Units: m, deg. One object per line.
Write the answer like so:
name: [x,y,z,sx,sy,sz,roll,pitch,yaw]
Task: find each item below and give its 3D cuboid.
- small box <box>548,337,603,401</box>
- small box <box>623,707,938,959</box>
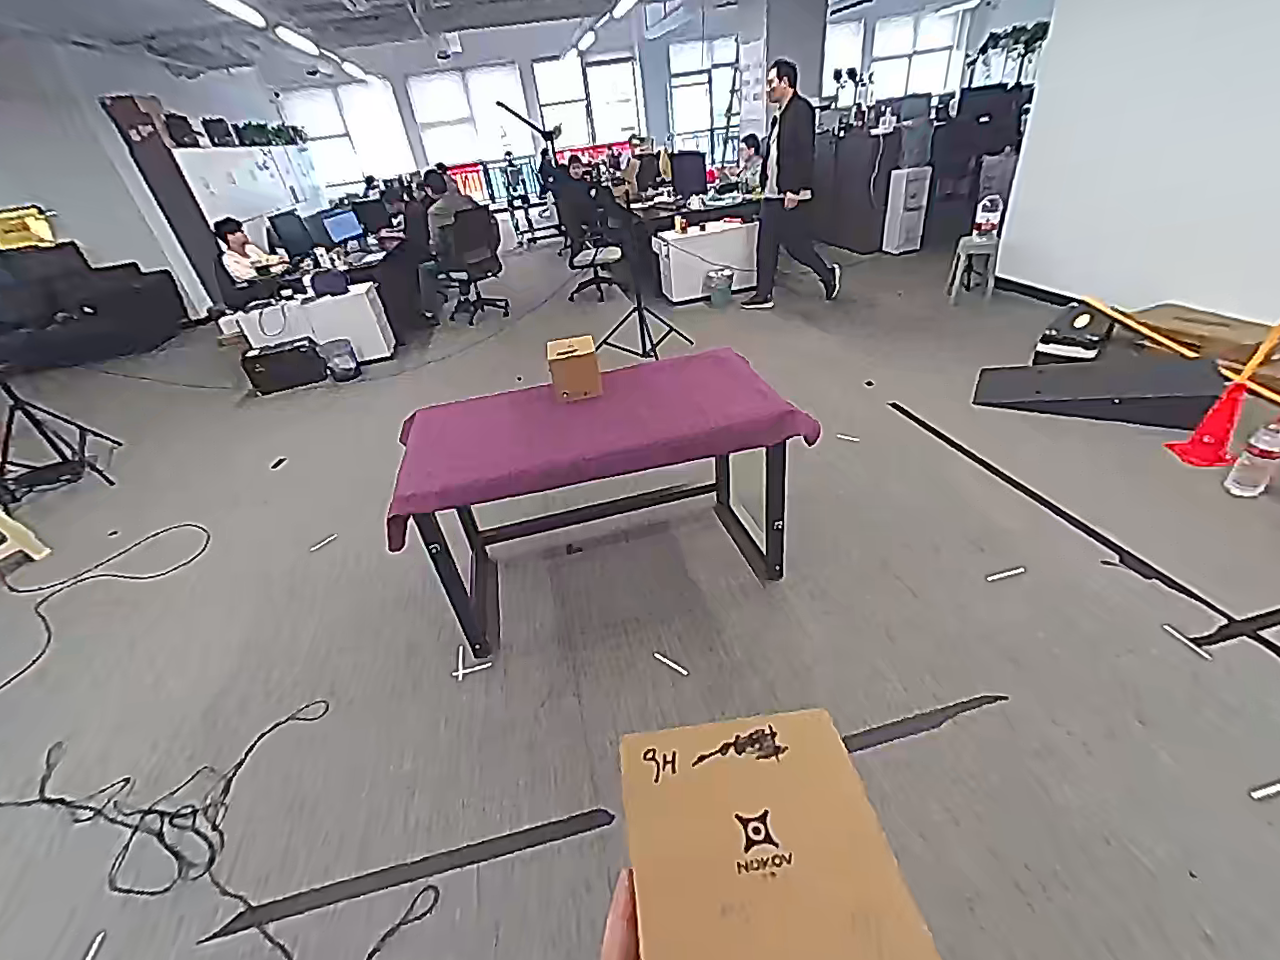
small box: [-0.232,-0.394,1.946,0.168,0.176,0.179,-11,34,-4]
small box: [0.081,0.301,0.395,0.168,0.176,0.179,-6,36,-5]
